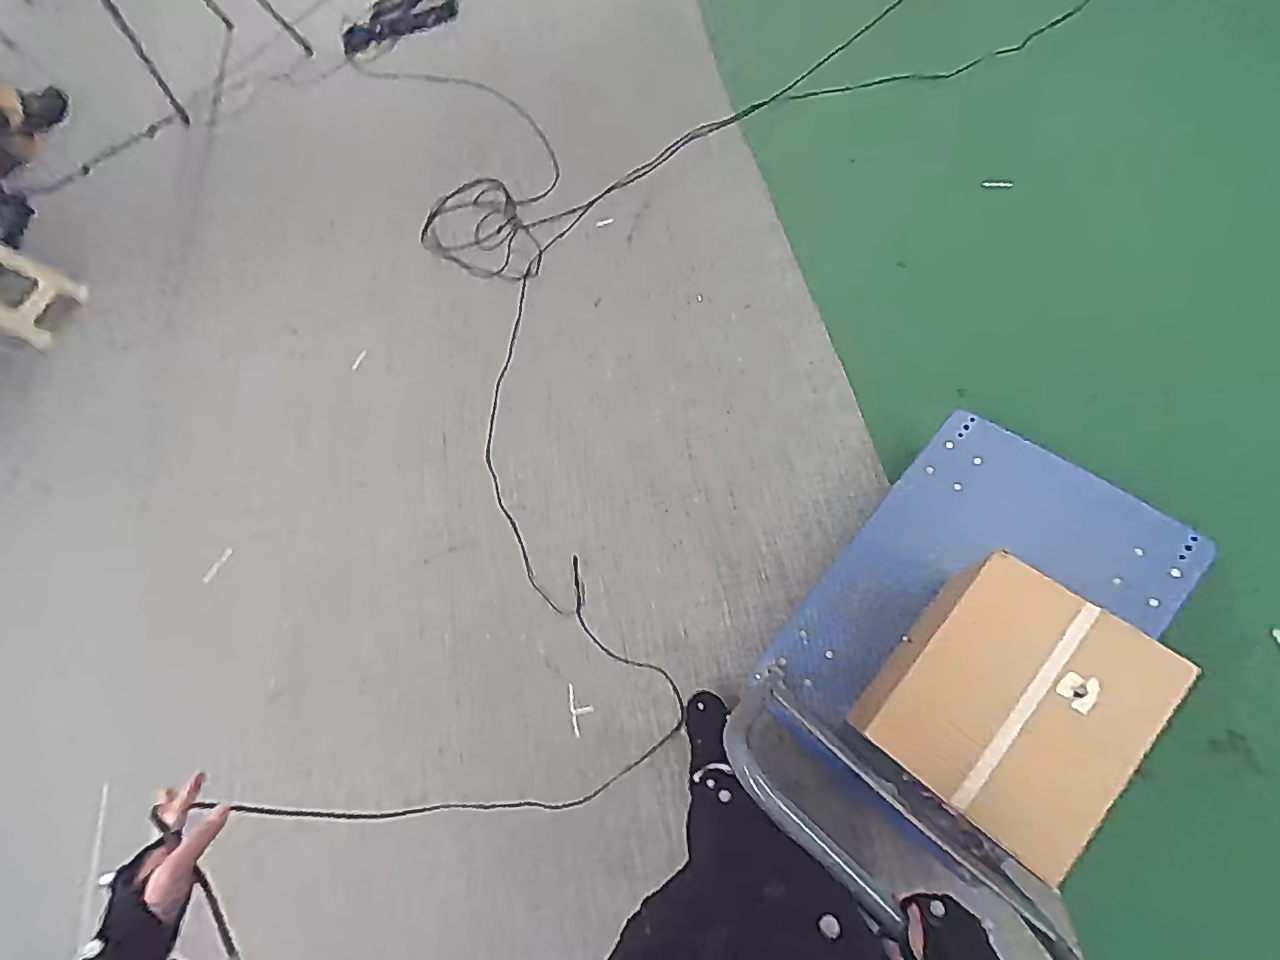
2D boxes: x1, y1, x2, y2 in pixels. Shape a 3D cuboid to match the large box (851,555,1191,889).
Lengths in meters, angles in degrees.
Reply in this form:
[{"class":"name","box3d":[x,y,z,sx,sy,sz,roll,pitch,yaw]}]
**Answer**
[{"class":"large box","box3d":[0.650,0.416,1.002,0.320,0.320,0.408,38,83,23]}]
